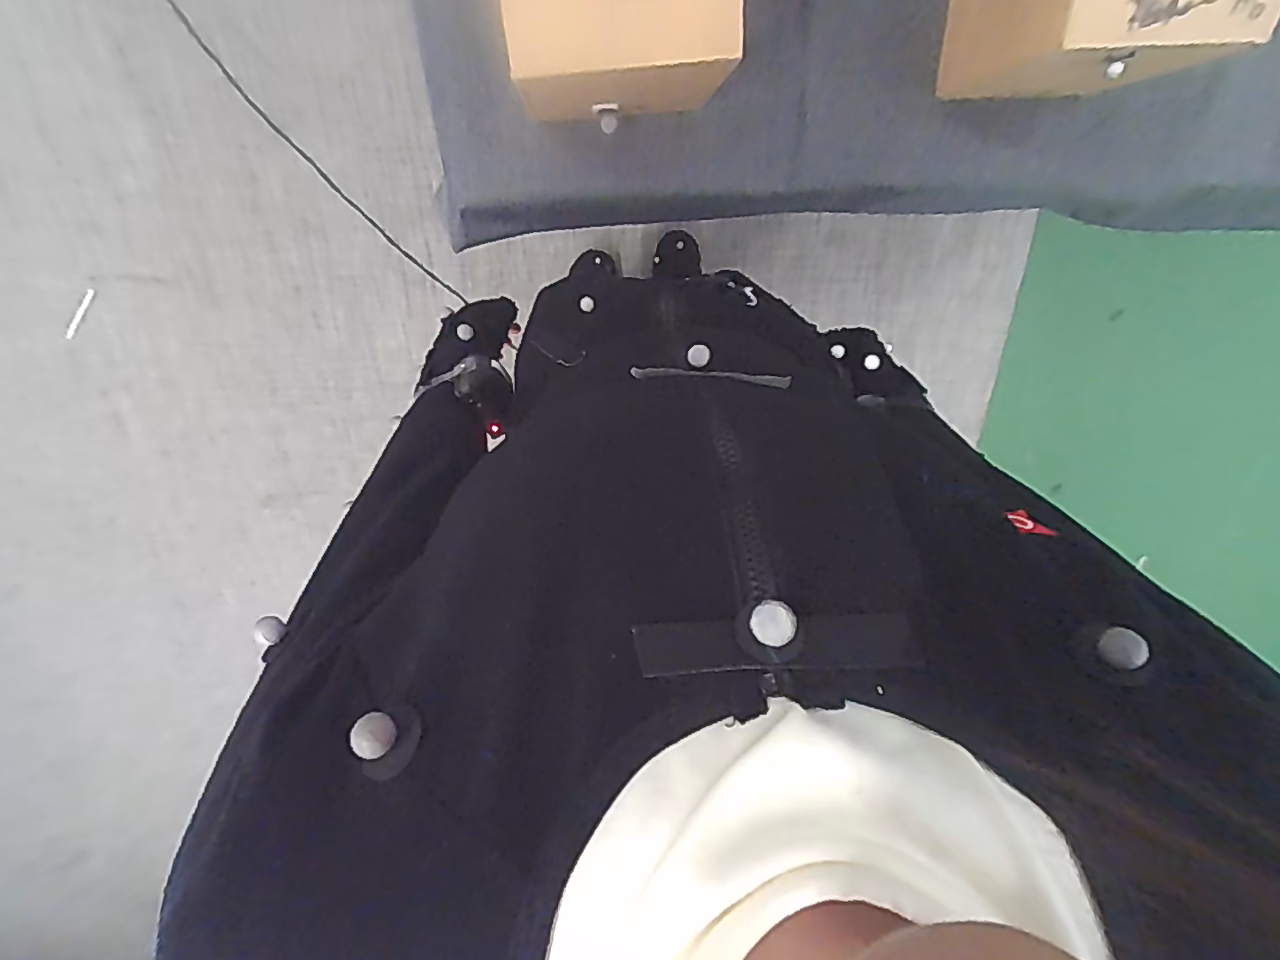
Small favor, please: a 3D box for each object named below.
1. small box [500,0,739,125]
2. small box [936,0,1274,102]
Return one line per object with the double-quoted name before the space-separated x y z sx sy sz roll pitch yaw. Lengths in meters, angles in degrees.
"small box" -0.024 -0.402 0.421 0.168 0.176 0.179 -7 115 -1
"small box" 0.374 -0.435 0.441 0.168 0.176 0.179 -4 114 -3
